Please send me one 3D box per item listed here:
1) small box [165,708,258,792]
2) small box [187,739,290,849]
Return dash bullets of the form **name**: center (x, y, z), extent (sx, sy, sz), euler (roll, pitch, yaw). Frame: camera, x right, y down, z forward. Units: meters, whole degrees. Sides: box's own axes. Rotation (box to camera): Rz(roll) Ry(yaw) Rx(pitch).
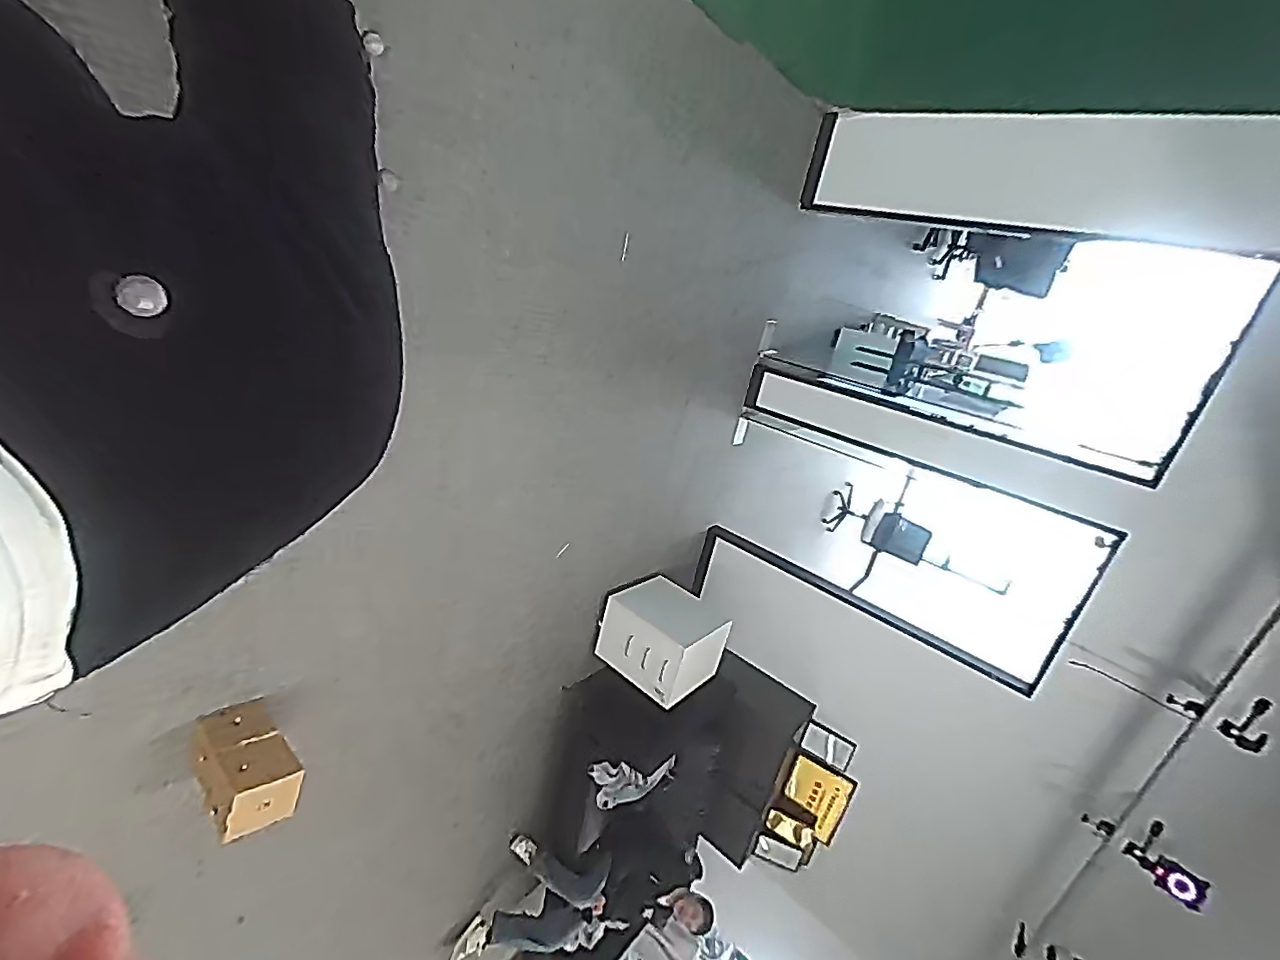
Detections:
- **small box**: center (-1.253, 0.821, 1.610), extent (0.179, 0.176, 0.168), euler (-39, 142, -37)
- **small box**: center (-1.136, 0.874, 1.524), extent (0.179, 0.176, 0.168), euler (4, 110, -57)
